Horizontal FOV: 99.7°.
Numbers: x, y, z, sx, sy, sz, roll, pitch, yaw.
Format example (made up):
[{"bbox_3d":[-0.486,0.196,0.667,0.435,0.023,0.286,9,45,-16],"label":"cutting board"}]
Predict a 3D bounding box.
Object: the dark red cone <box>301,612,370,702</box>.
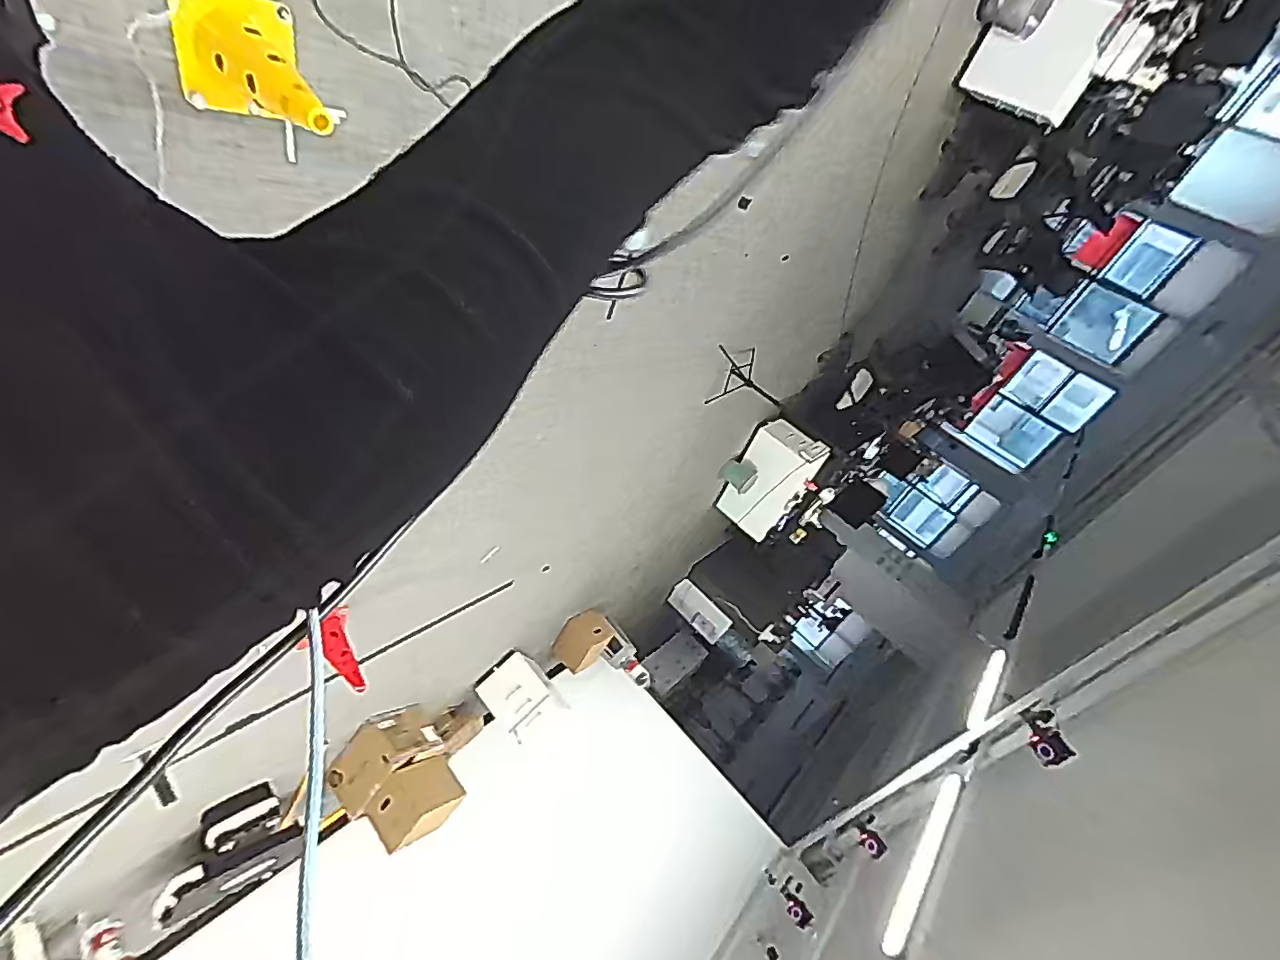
[{"bbox_3d":[-1.236,0.758,2.257,0.201,0.394,0.202,-18,143,-49],"label":"dark red cone"}]
